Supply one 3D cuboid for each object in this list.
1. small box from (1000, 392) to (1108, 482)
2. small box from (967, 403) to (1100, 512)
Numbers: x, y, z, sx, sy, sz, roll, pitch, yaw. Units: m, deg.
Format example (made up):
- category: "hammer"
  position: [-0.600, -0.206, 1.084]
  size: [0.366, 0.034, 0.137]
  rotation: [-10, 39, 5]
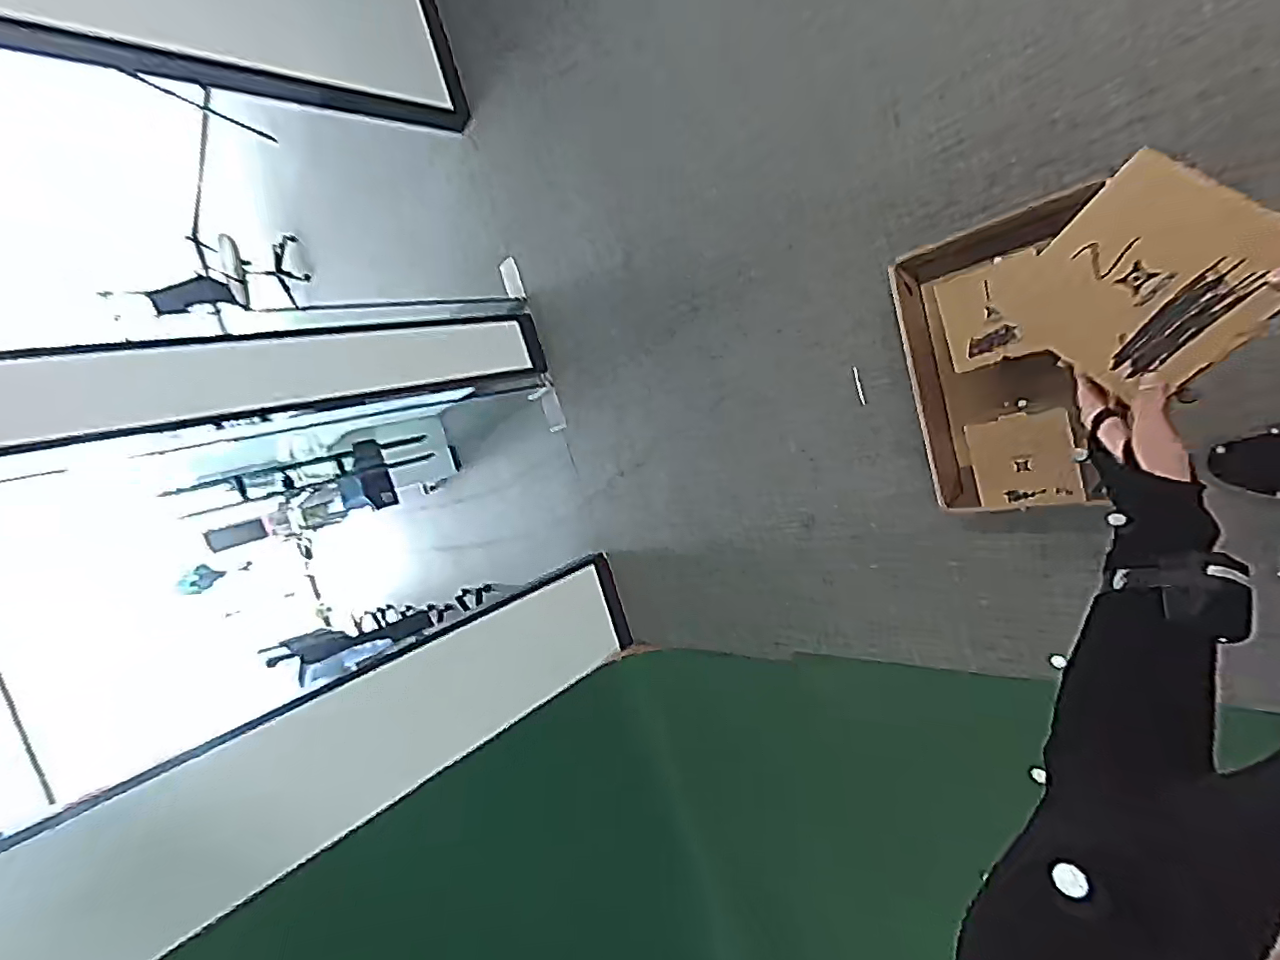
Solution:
- category: "small box"
  position: [0.881, -0.085, 1.165]
  size: [0.179, 0.176, 0.168]
  rotation: [-9, 97, 48]
- category: "small box"
  position: [0.768, -0.047, 1.053]
  size: [0.168, 0.176, 0.179]
  rotation: [-11, 96, 48]
